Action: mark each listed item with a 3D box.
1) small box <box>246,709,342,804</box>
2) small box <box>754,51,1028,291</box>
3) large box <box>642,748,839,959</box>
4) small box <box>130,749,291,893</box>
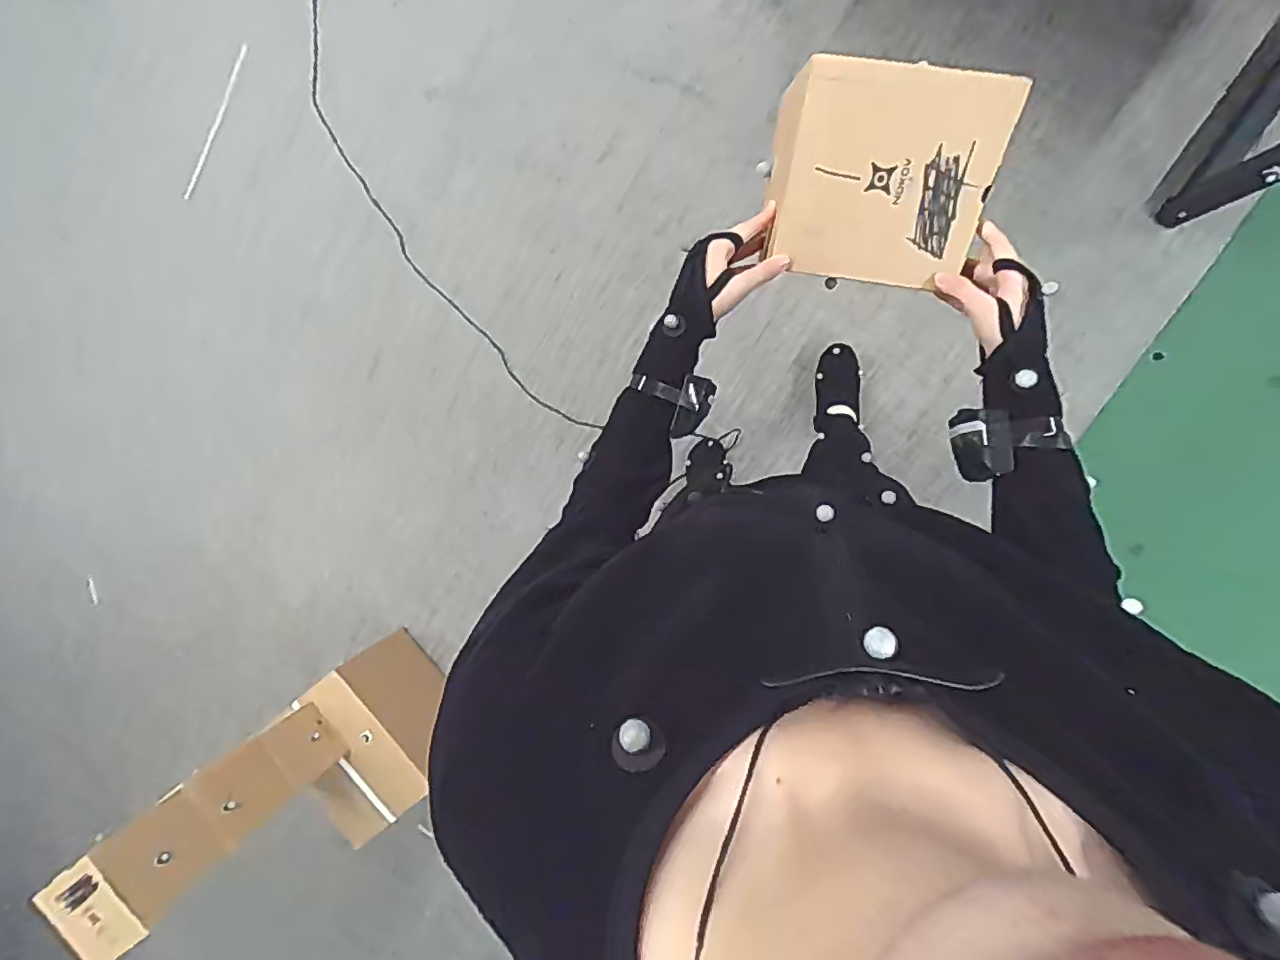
[{"bbox_3d":[-0.876,0.700,1.314,0.179,0.176,0.168,-39,89,11],"label":"small box"},{"bbox_3d":[0.222,-0.294,0.538,0.179,0.176,0.168,8,116,2],"label":"small box"},{"bbox_3d":[0.248,0.990,1.437,0.408,0.320,0.320,18,98,4],"label":"large box"},{"bbox_3d":[-0.906,0.711,1.155,0.168,0.176,0.179,-38,90,11],"label":"small box"}]
